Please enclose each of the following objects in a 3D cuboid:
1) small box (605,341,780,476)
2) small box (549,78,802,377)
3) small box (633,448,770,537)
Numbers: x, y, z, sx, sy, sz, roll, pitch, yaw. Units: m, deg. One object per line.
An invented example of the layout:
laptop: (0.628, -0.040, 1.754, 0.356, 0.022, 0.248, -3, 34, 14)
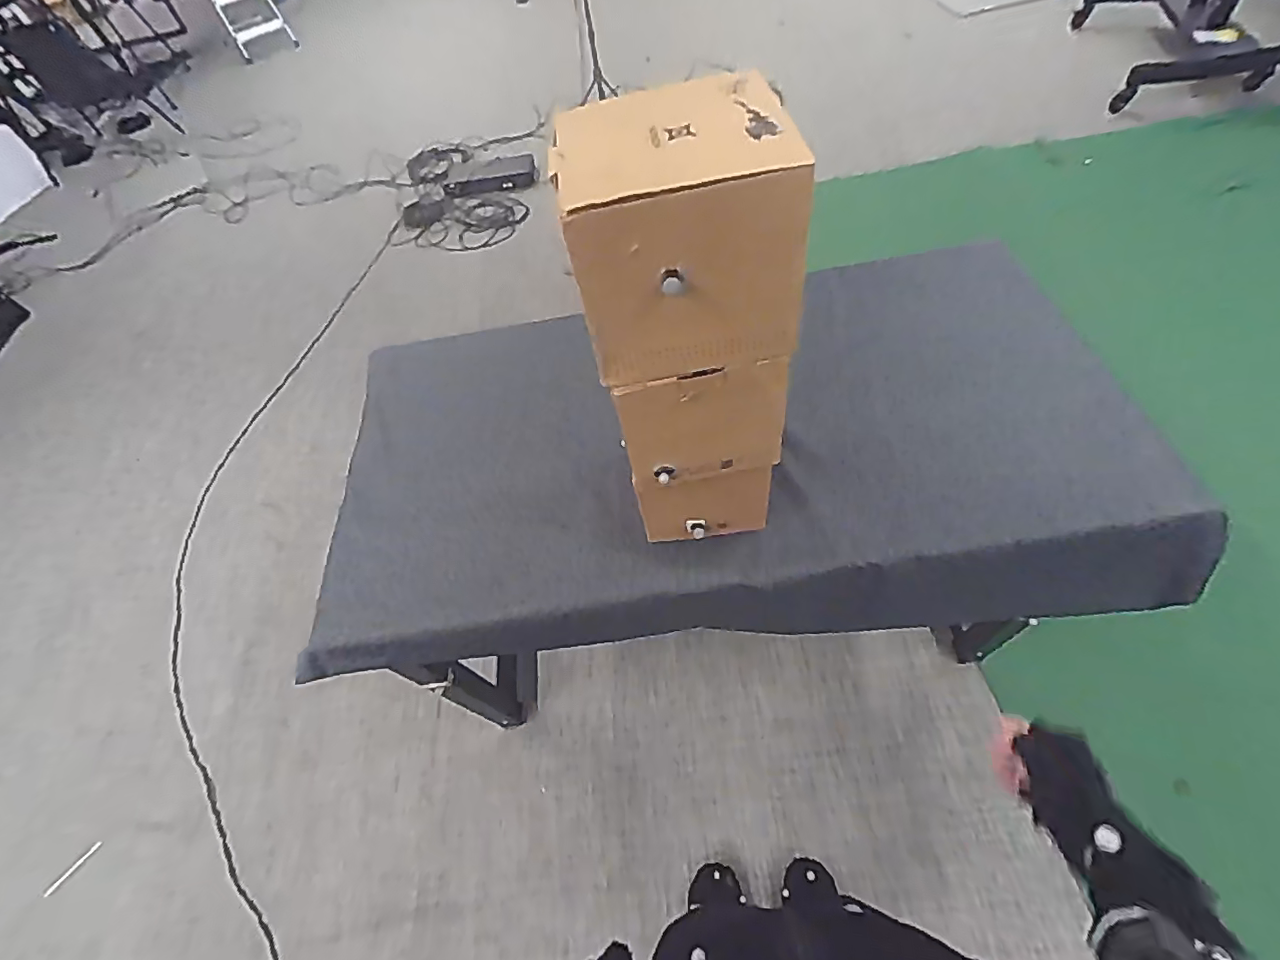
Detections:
small box: (0.050, -0.122, 0.611, 0.168, 0.176, 0.179, -15, 56, 1)
small box: (0.029, -0.214, 0.480, 0.179, 0.176, 0.168, -12, 53, 1)
small box: (0.078, -0.043, 0.753, 0.168, 0.176, 0.179, -9, 57, 5)
